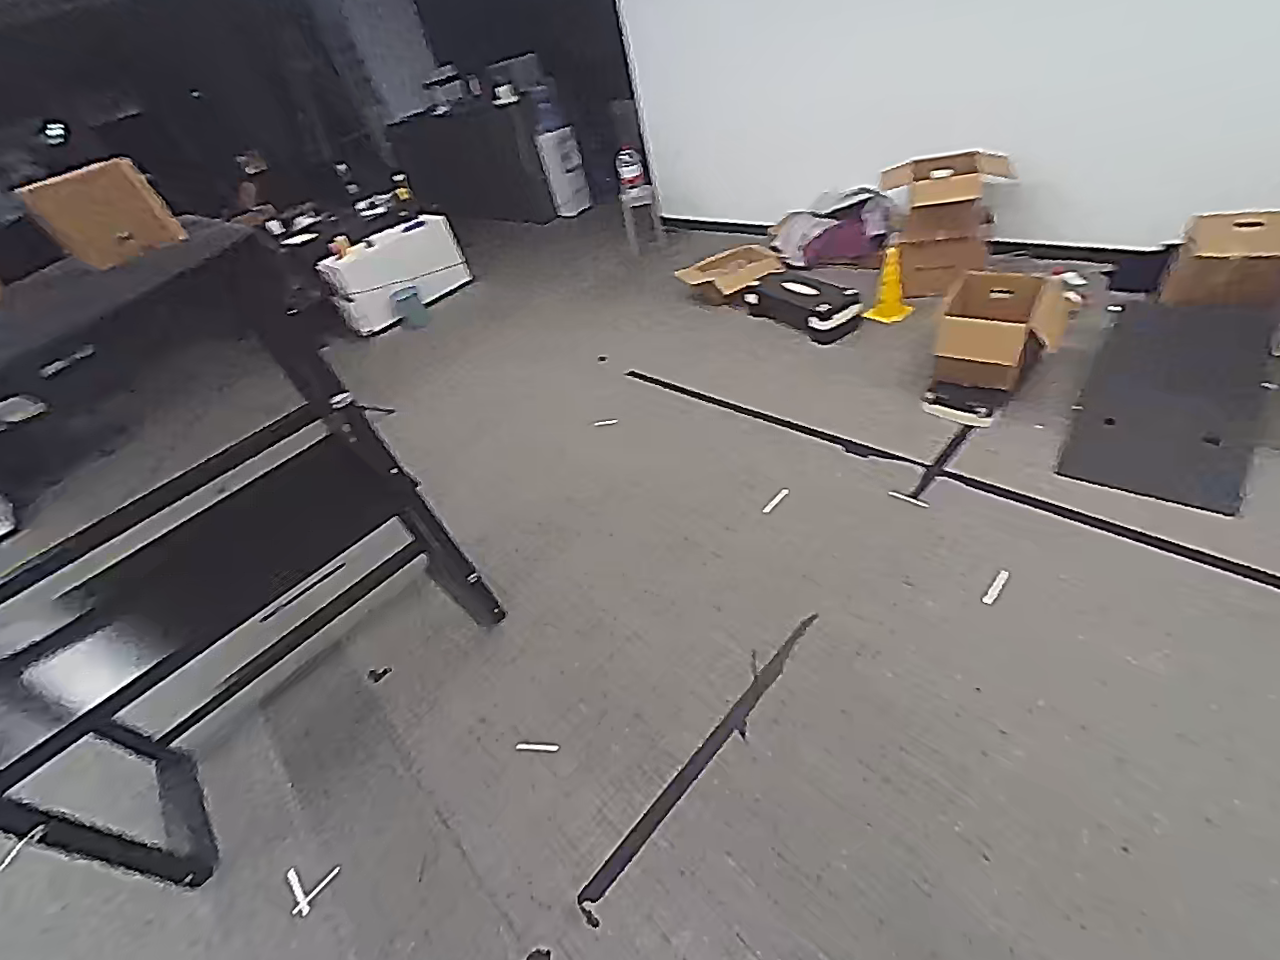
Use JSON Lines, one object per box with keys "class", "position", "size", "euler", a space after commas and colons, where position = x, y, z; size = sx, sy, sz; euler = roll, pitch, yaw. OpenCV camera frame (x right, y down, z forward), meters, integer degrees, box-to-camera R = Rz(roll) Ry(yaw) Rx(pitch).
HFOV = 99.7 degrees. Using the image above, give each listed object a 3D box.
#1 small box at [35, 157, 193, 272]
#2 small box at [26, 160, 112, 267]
{"class": "small box", "position": [-1.086, -0.558, 1.135], "size": [0.168, 0.176, 0.179], "euler": [-36, 44, -19]}
{"class": "small box", "position": [-1.249, -0.618, 1.258], "size": [0.168, 0.176, 0.179], "euler": [-36, 46, -20]}
